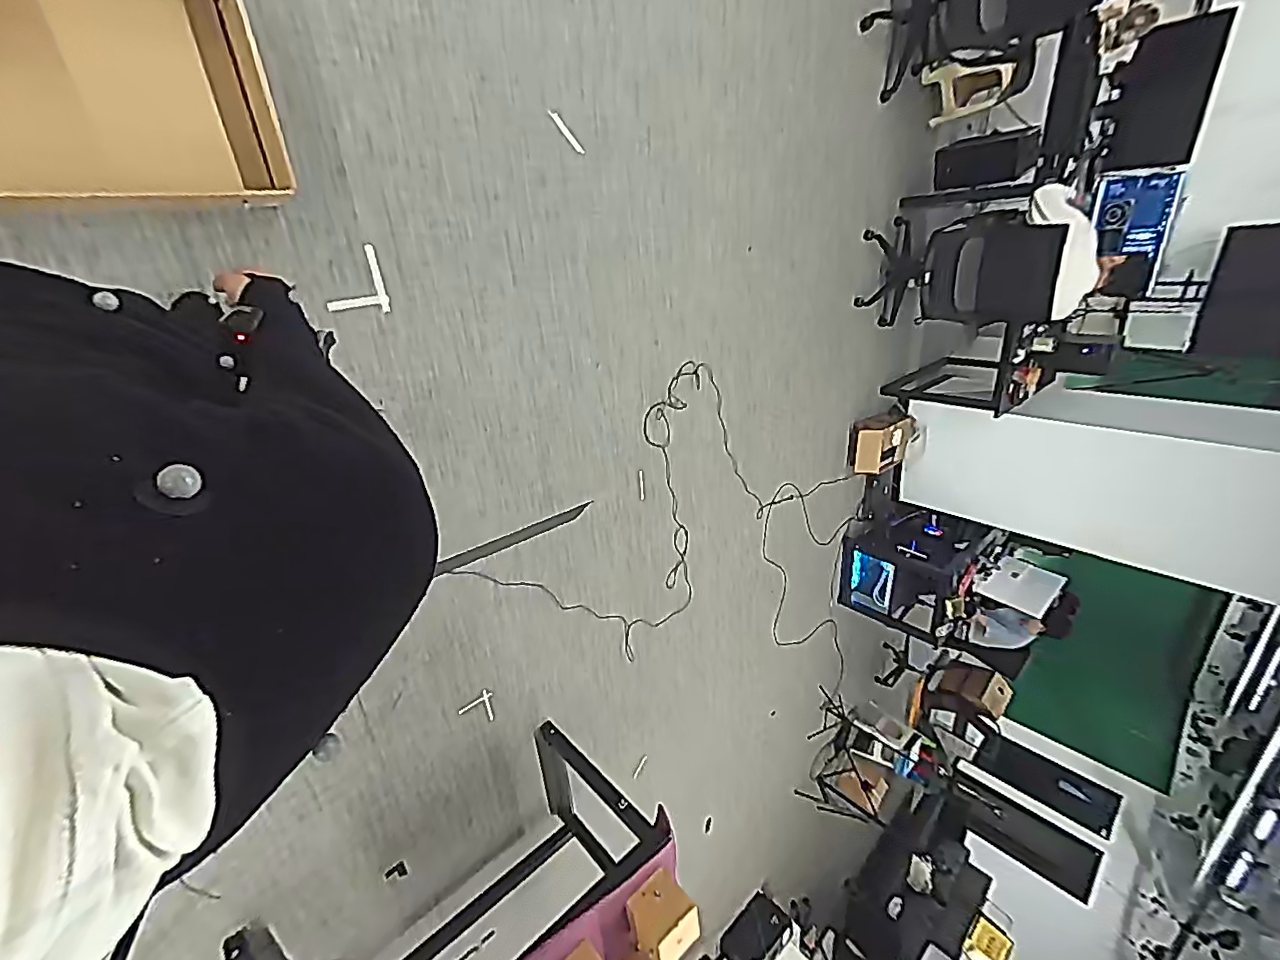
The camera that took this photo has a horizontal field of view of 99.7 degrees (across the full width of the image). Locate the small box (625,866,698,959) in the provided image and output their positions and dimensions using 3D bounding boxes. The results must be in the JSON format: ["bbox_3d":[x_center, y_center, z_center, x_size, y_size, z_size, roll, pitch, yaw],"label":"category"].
[{"bbox_3d":[0.069,1.425,1.770,0.168,0.176,0.179,-26,121,-33],"label":"small box"}]

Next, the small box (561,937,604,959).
[{"bbox_3d":[-0.170,1.504,1.569,0.179,0.176,0.168,-23,120,-37],"label":"small box"}]
